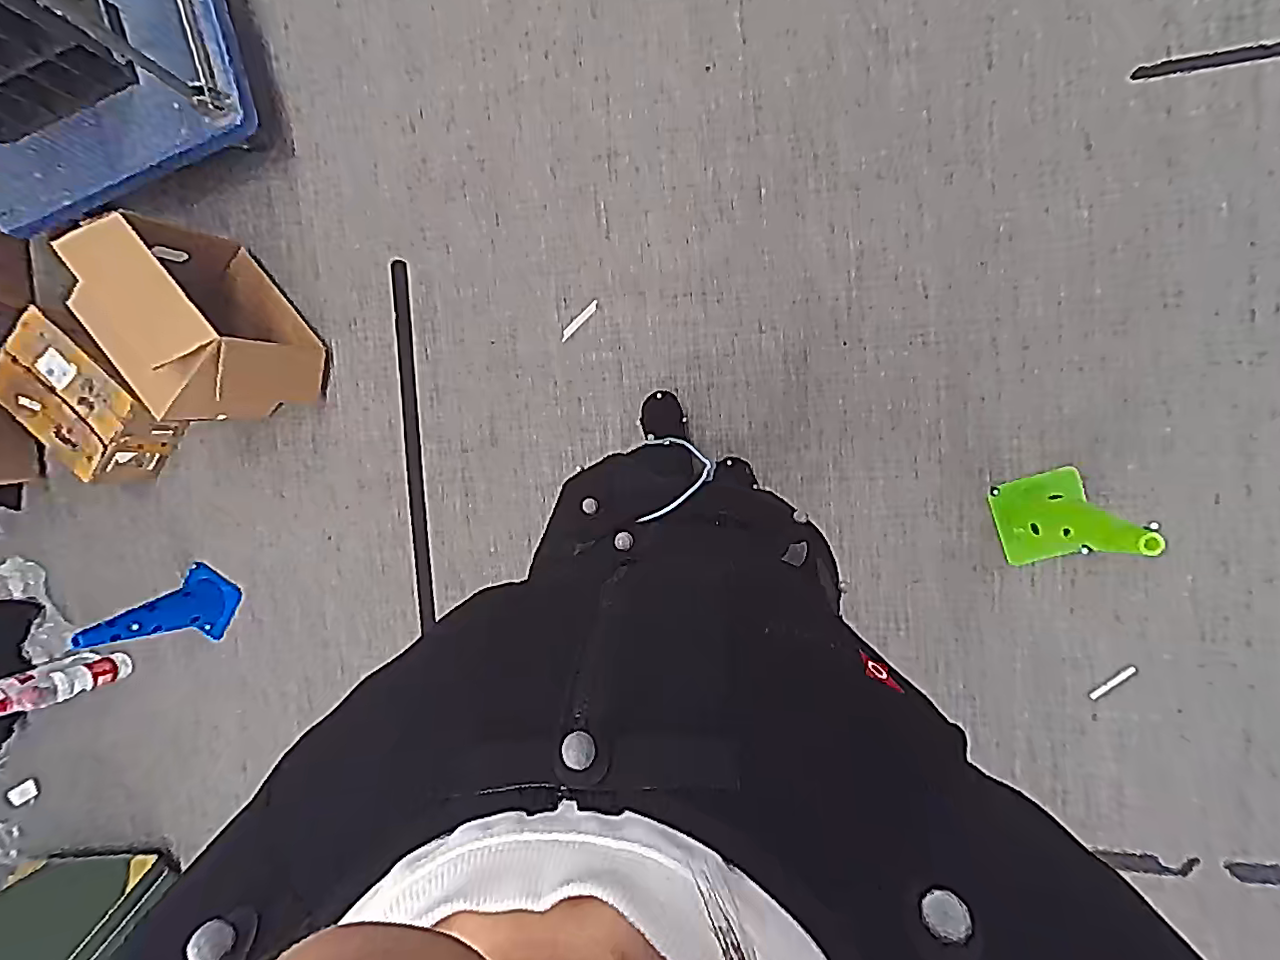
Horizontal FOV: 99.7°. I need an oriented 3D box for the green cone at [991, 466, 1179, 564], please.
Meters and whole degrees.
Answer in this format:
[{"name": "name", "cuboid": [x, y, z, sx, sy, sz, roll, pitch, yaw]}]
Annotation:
[{"name": "green cone", "cuboid": [0.926, 0.098, 1.102, 0.202, 0.368, 0.200, -18, 91, 10]}]
